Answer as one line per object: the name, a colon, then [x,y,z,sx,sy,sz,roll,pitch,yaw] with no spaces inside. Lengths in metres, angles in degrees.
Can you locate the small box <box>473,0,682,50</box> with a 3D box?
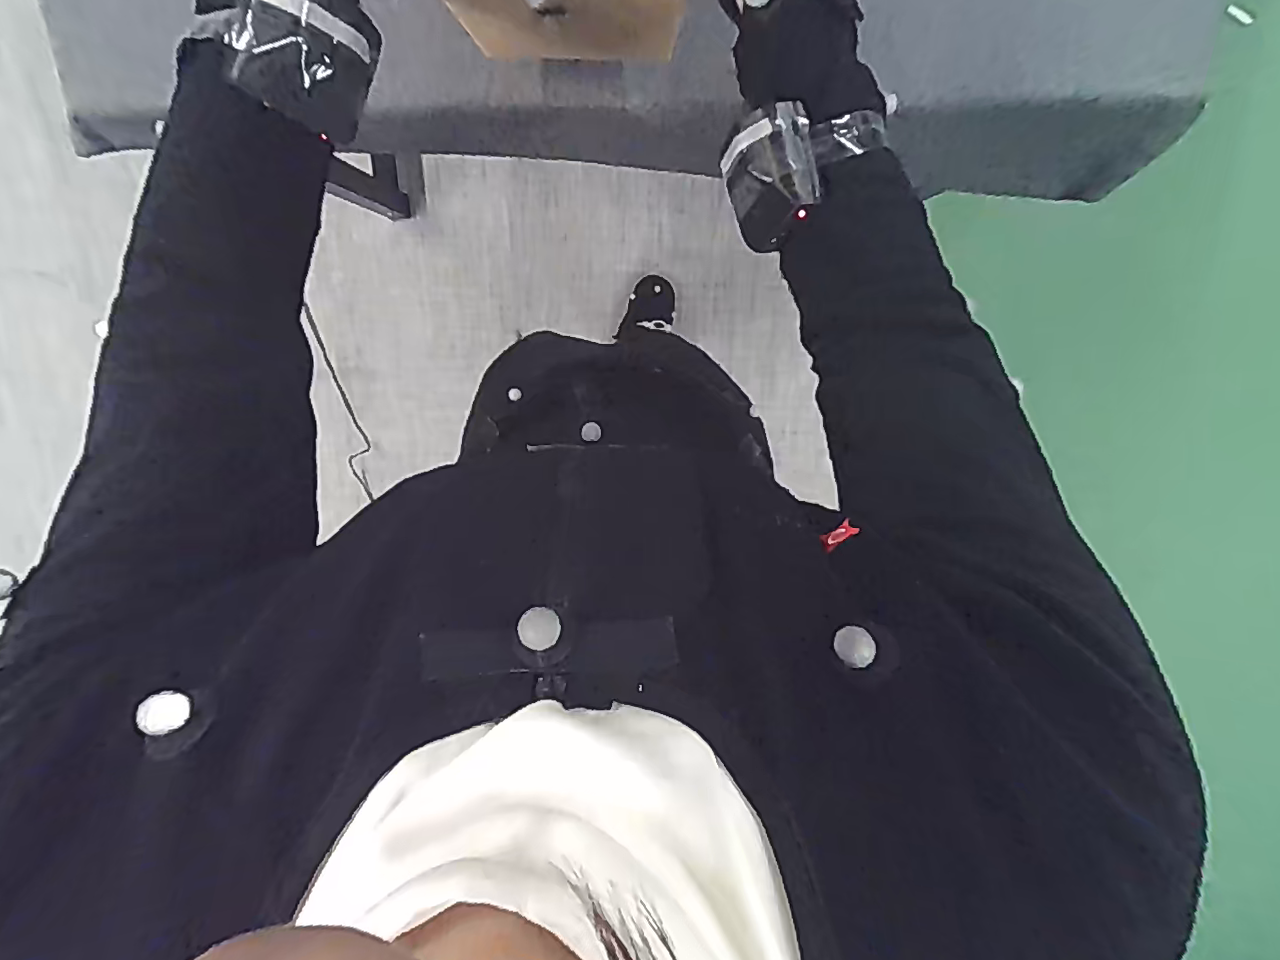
small box: [-0.051,-0.453,0.412,0.179,0.176,0.168,0,115,-1]
